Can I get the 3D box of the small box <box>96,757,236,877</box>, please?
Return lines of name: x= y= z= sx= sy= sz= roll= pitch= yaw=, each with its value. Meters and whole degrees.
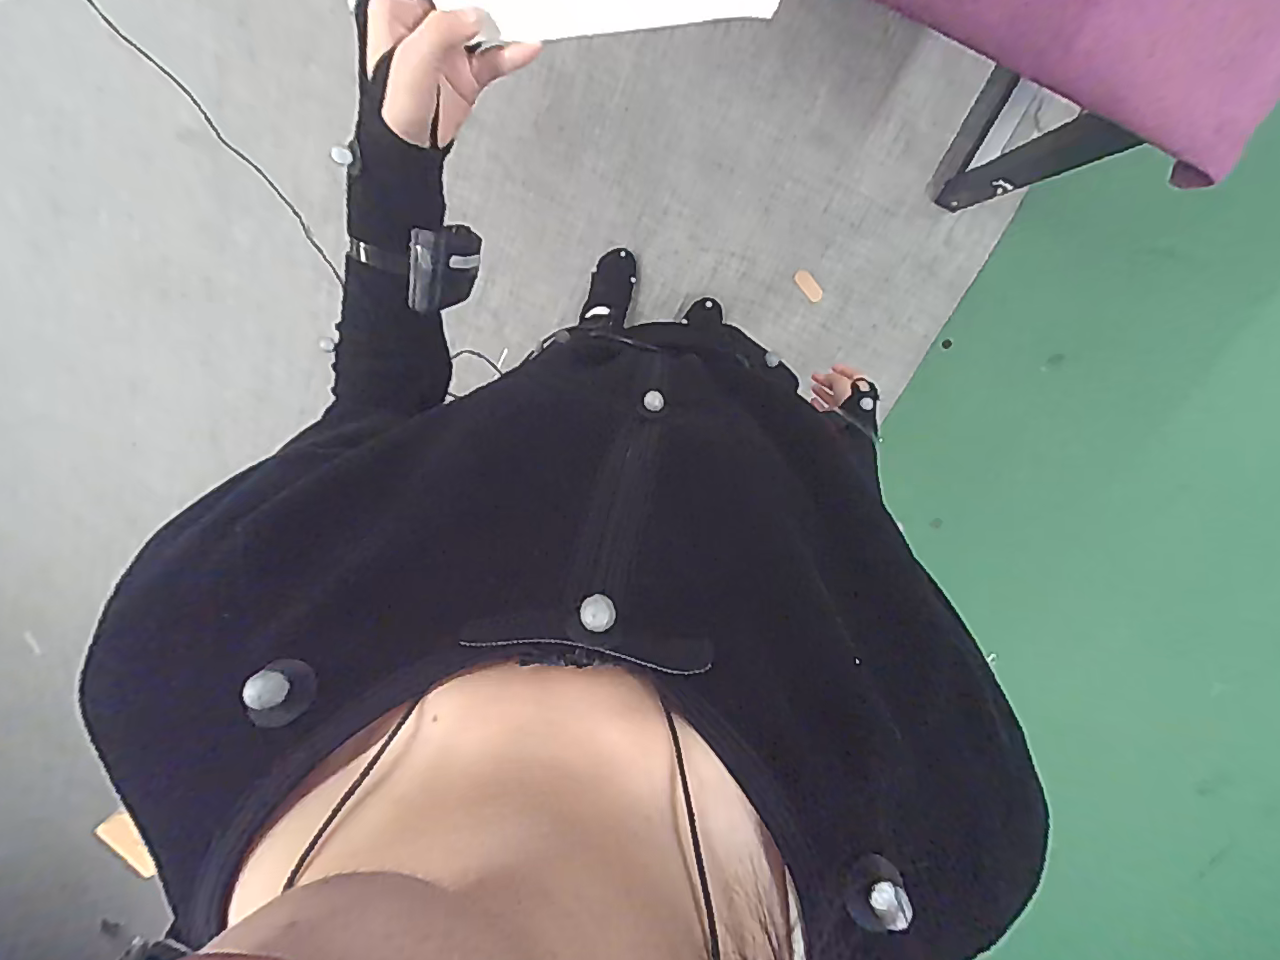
small box: x=-1.190 y=0.850 z=1.375 sx=0.168 sy=0.176 sz=0.179 roll=-31 pitch=101 yaw=15
